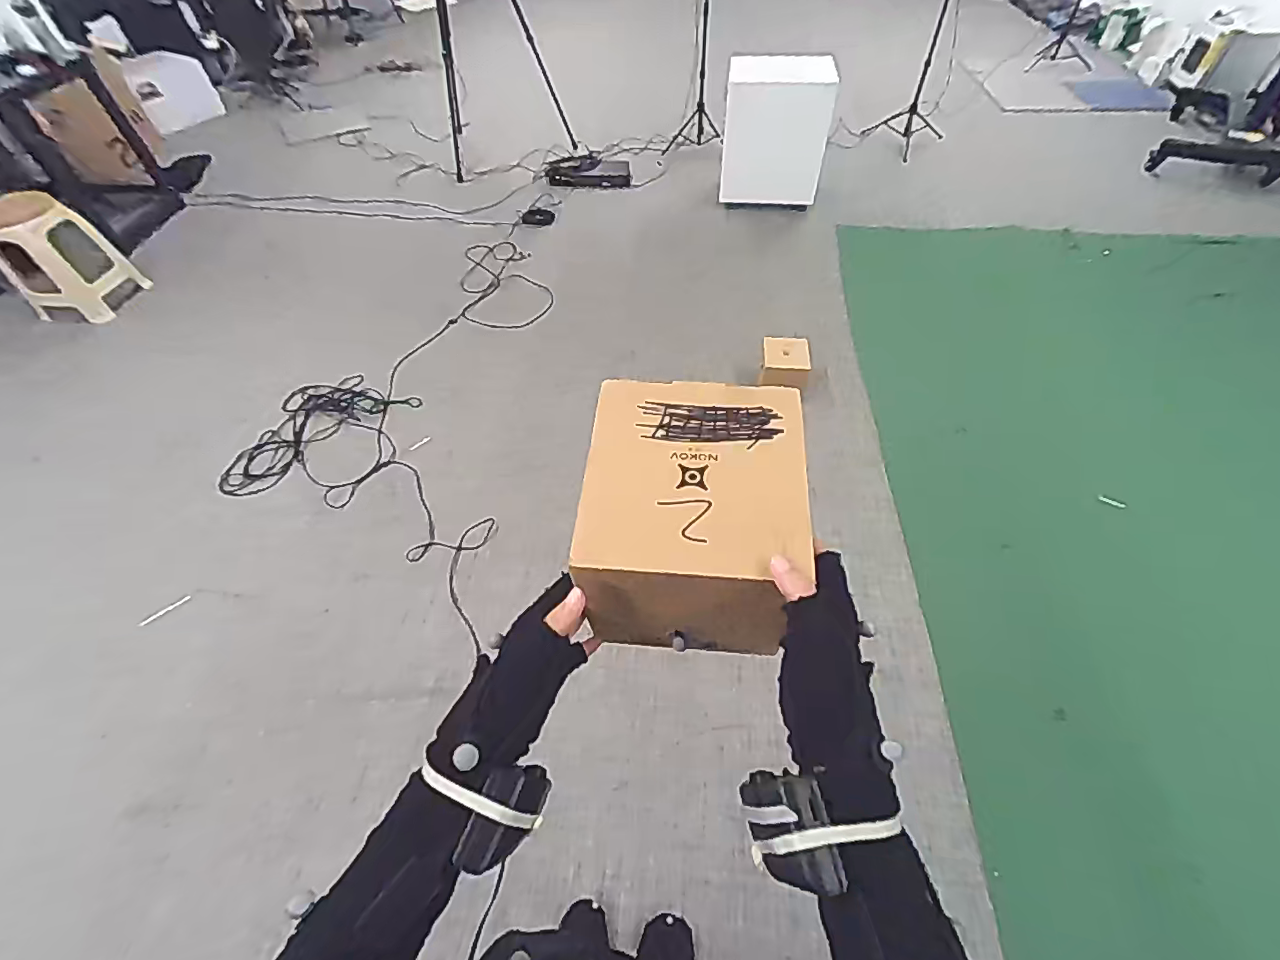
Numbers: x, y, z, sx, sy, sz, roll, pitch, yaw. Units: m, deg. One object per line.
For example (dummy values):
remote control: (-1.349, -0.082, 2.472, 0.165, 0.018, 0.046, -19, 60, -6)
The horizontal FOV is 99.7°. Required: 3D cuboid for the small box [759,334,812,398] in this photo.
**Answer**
small box: (0.550, -0.431, 2.059, 0.168, 0.176, 0.179, 4, 53, 5)
